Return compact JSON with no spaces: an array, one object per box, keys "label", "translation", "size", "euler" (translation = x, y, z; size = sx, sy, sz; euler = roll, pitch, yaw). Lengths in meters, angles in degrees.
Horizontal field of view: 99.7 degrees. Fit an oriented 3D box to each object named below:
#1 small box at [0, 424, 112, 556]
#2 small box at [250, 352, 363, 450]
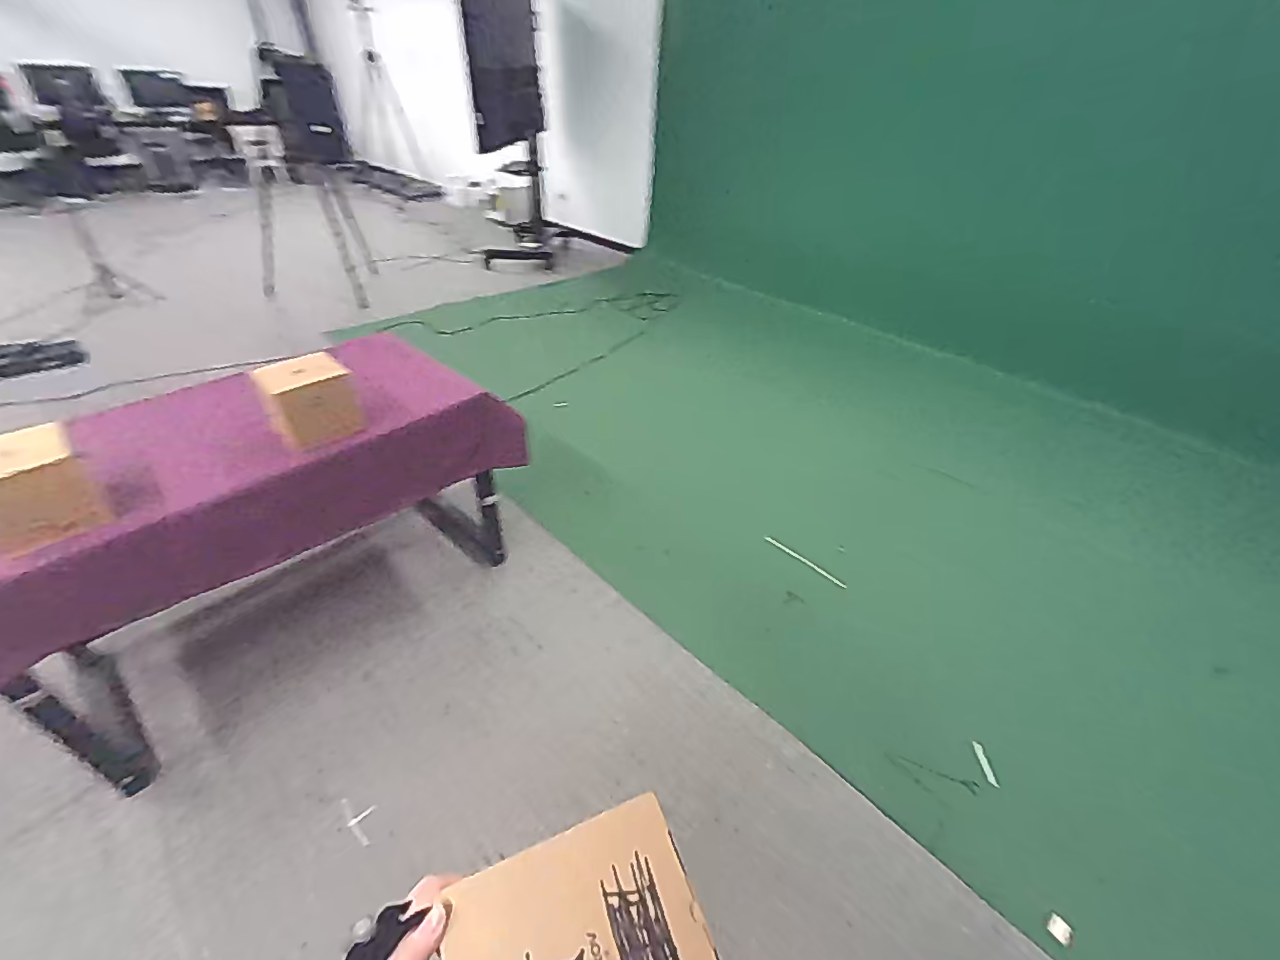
[{"label":"small box","translation":[-1.203,0.018,1.069],"size":[0.179,0.176,0.168],"euler":[32,46,31]},{"label":"small box","translation":[-0.841,-0.199,1.376],"size":[0.168,0.176,0.179],"euler":[32,46,32]}]
